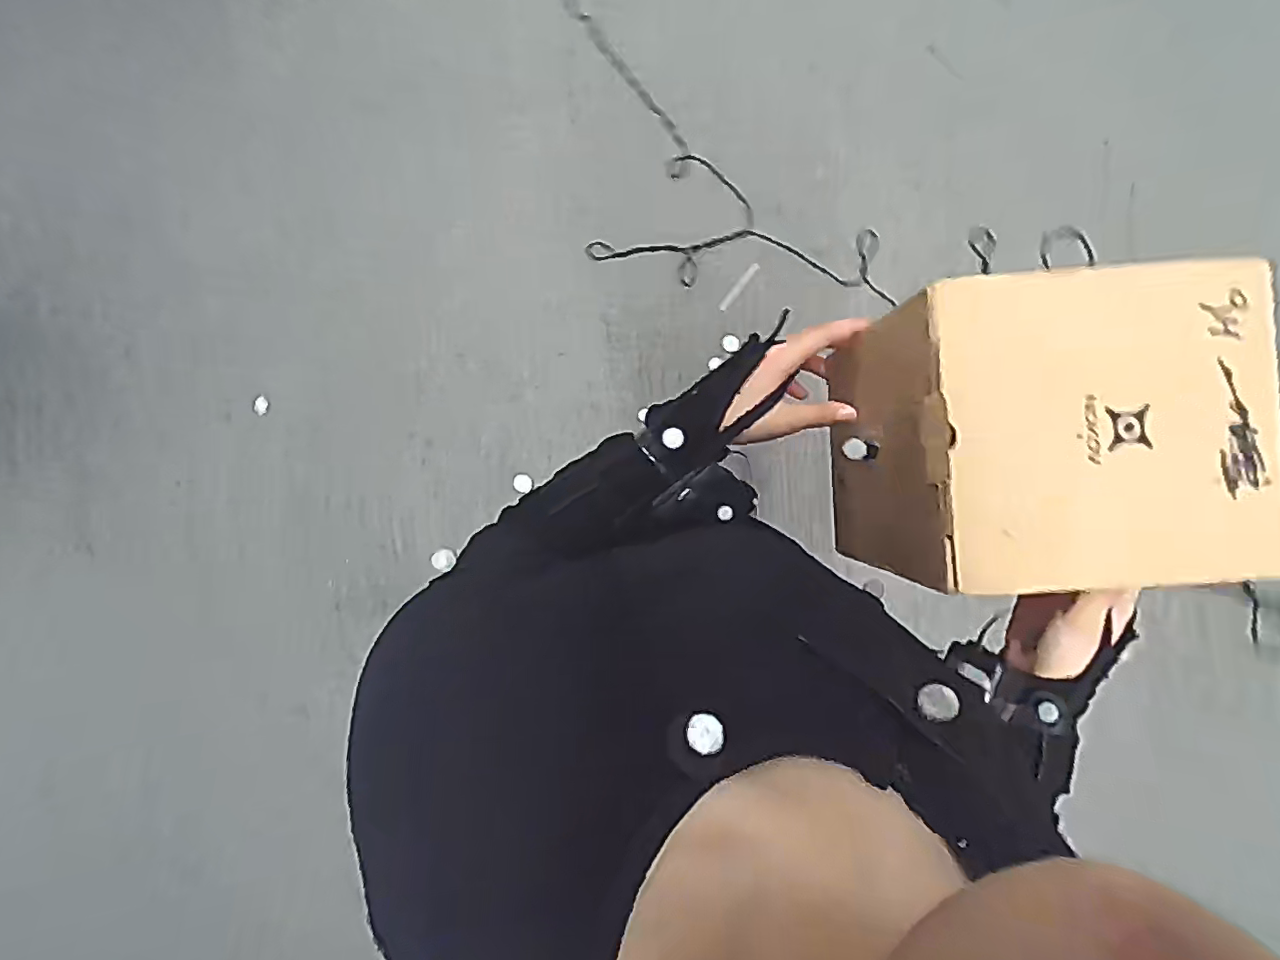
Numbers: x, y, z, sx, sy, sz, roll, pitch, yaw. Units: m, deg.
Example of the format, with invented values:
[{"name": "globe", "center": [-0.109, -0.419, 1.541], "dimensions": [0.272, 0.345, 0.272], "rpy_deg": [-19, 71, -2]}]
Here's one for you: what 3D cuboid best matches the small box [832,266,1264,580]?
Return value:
[{"name": "small box", "center": [0.242, -0.028, 0.371], "dimensions": [0.179, 0.176, 0.168], "rpy_deg": [-3, 89, 2]}]
